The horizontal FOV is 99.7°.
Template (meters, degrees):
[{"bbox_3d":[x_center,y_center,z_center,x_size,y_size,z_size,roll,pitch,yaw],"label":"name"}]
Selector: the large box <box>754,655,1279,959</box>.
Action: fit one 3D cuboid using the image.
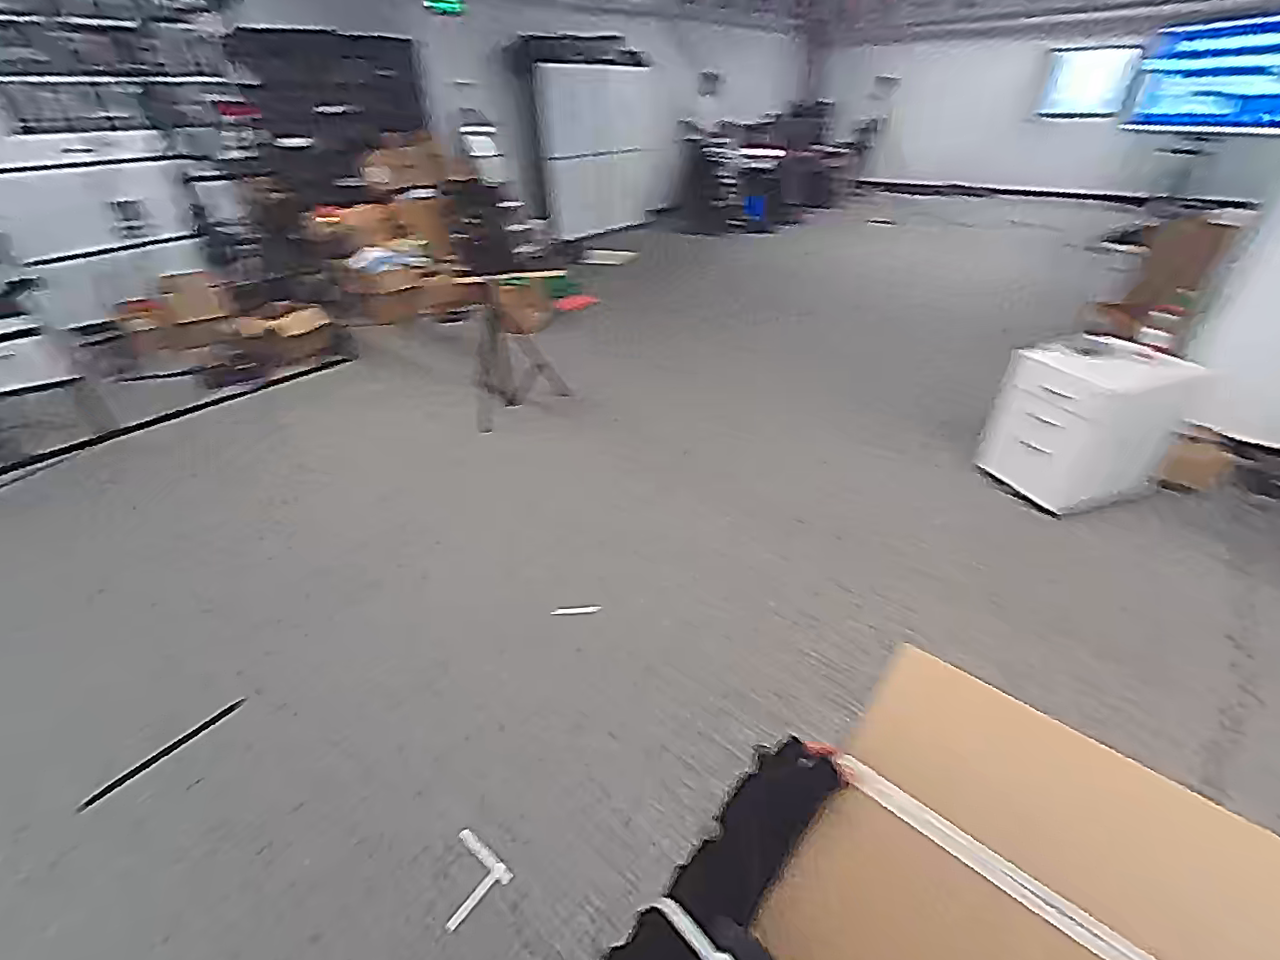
[{"bbox_3d":[0.351,0.449,0.489,0.408,0.320,0.320,27,51,32],"label":"large box"}]
